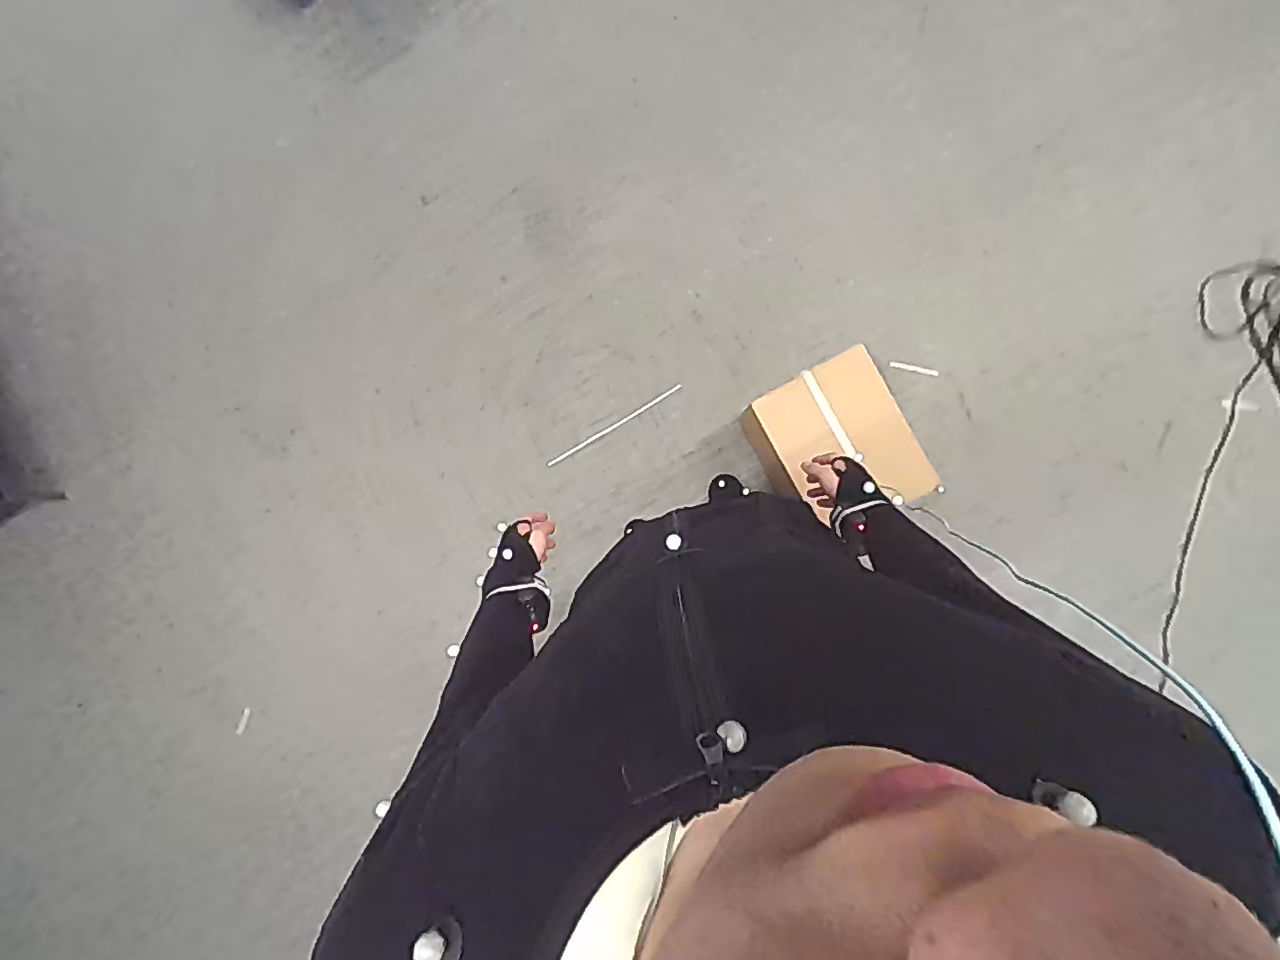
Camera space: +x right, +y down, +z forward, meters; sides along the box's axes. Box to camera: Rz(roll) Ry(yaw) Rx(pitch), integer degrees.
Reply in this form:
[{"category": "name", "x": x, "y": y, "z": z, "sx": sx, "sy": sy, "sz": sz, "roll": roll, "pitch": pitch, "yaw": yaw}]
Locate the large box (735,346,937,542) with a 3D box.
[{"category": "large box", "x": 0.504, "y": -0.088, "z": 1.479, "sx": 0.320, "sy": 0.320, "sz": 0.408, "roll": -29, "pitch": 88, "yaw": 3}]
